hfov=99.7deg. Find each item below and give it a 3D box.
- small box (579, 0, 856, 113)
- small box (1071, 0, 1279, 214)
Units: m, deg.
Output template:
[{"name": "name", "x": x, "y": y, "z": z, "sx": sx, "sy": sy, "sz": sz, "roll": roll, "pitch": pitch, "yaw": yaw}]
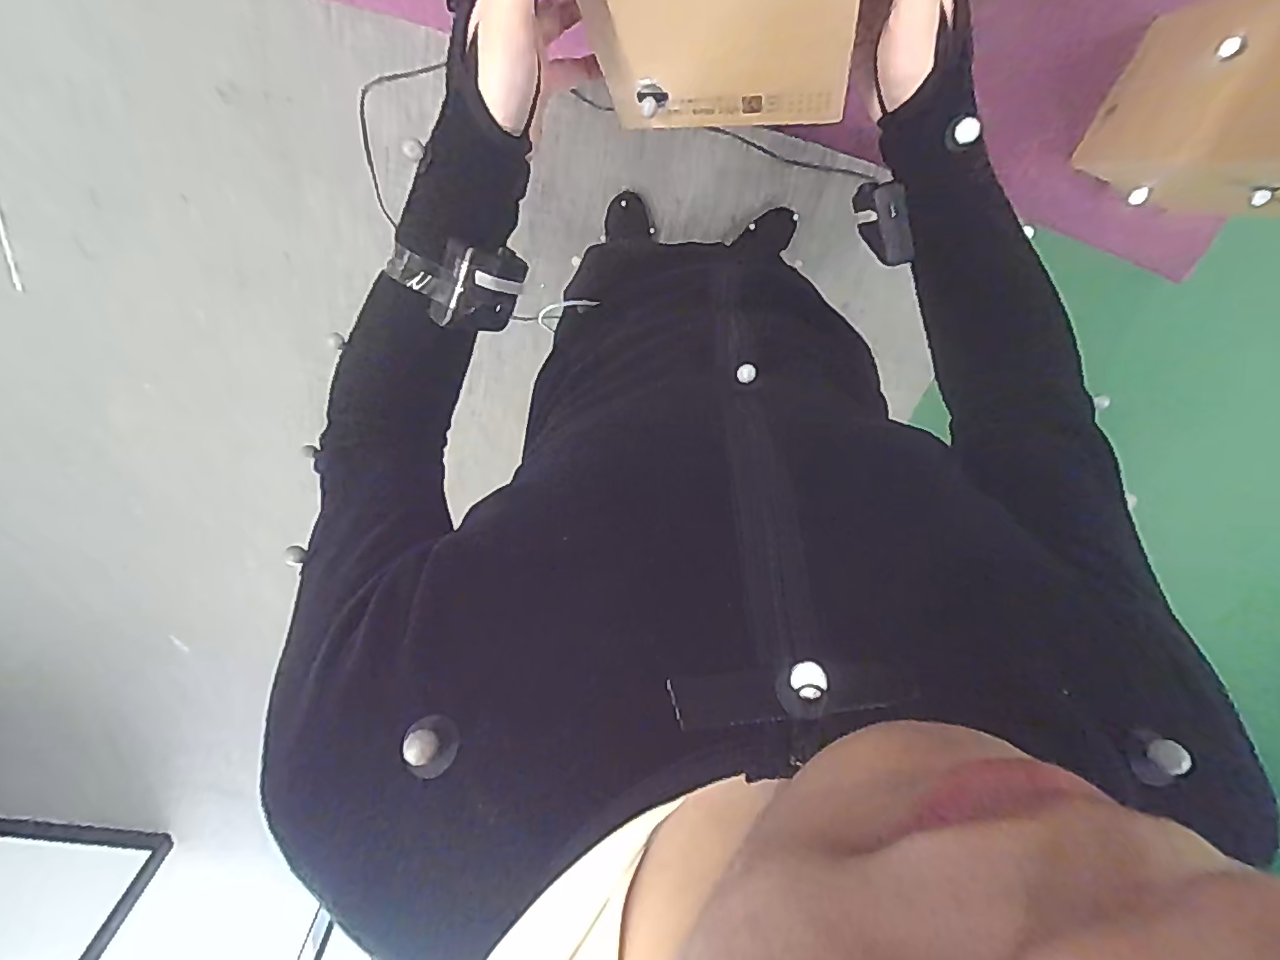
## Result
[{"name": "small box", "x": 0.056, "y": -0.363, "z": 0.334, "sx": 0.168, "sy": 0.176, "sz": 0.179, "roll": 9, "pitch": 84, "yaw": 15}, {"name": "small box", "x": 0.666, "y": -0.424, "z": 0.617, "sx": 0.179, "sy": 0.176, "sz": 0.168, "roll": 16, "pitch": 117, "yaw": -9}]
